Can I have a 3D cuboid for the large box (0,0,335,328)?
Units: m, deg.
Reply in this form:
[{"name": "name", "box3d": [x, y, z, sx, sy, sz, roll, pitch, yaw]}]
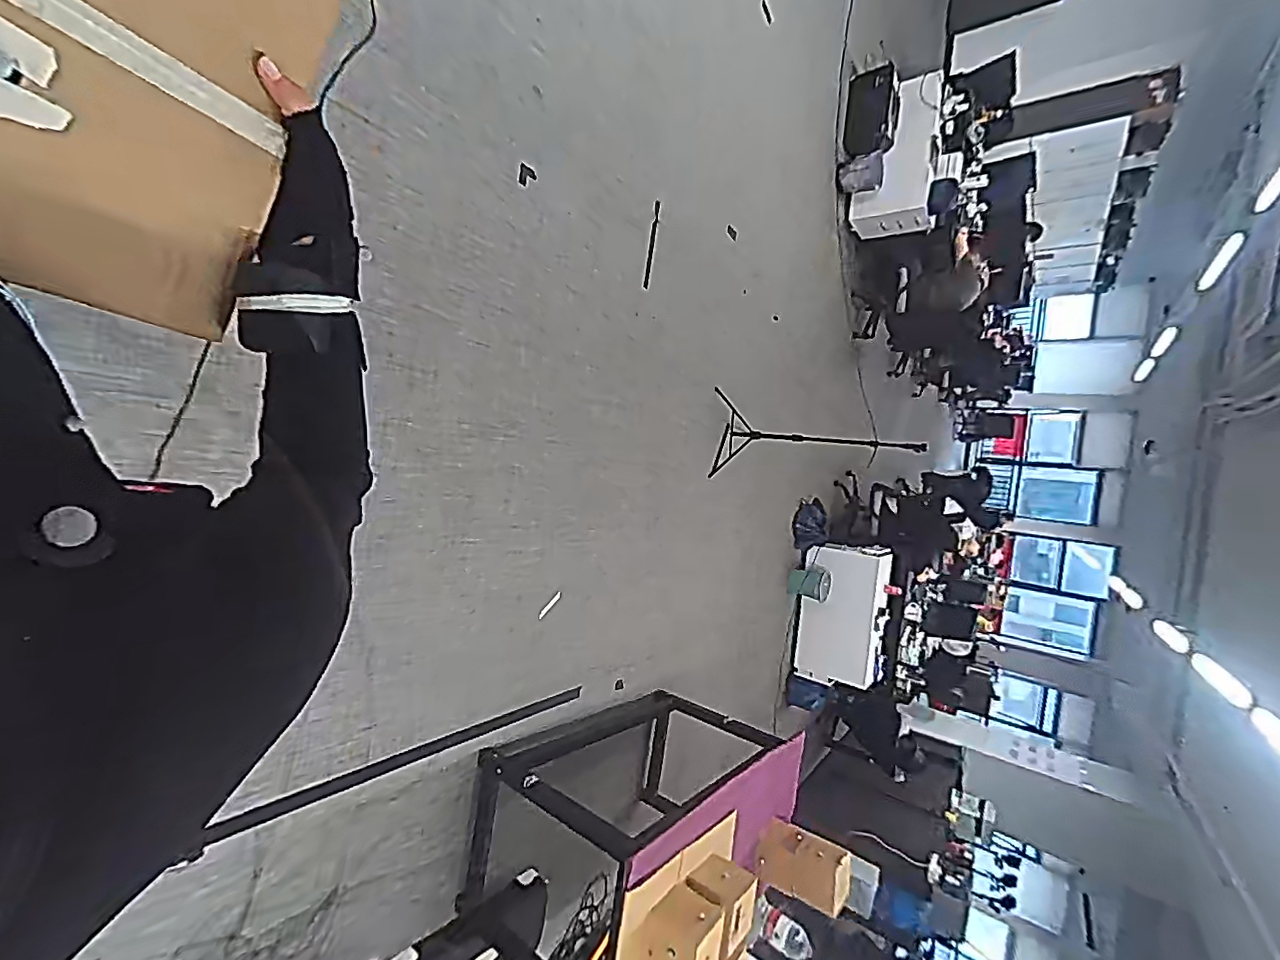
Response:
[{"name": "large box", "box3d": [-0.492, -0.339, 0.330, 0.408, 0.320, 0.320, 14, 102, -57]}]
